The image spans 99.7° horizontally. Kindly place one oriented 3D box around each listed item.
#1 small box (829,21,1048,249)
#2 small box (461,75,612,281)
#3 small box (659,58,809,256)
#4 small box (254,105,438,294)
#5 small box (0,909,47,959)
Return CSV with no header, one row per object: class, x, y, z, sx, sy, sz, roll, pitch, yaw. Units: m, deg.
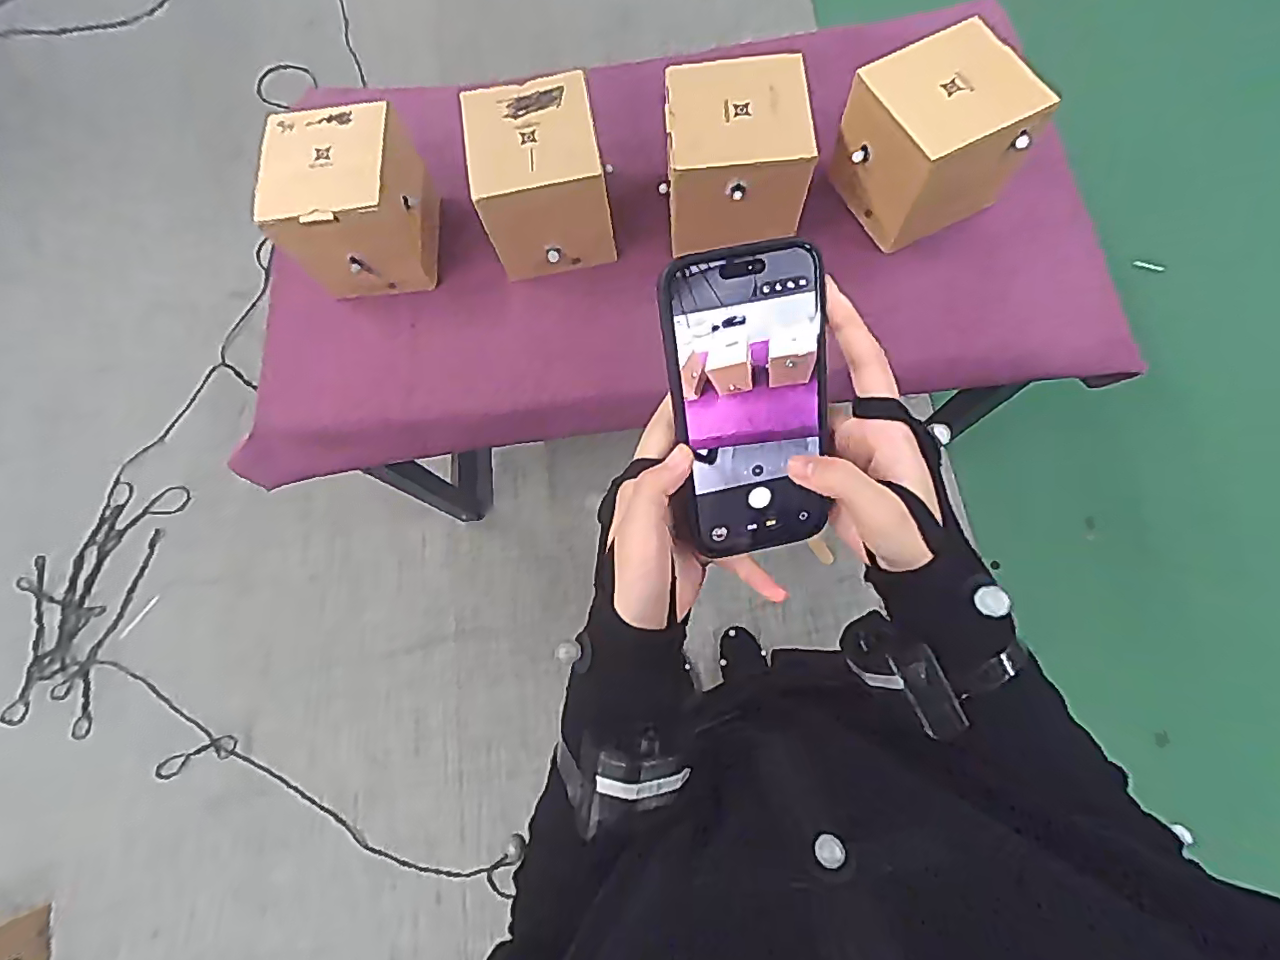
small box,0.378,-0.452,0.732,0.179,0.176,0.168,-26,73,-4
small box,-0.138,-0.414,0.762,0.168,0.176,0.179,-10,74,2
small box,0.121,-0.432,0.748,0.179,0.176,0.168,-3,74,3
small box,-0.404,-0.385,0.774,0.168,0.176,0.179,-5,74,3
small box,-1.476,1.088,1.188,0.179,0.176,0.168,-15,74,0
